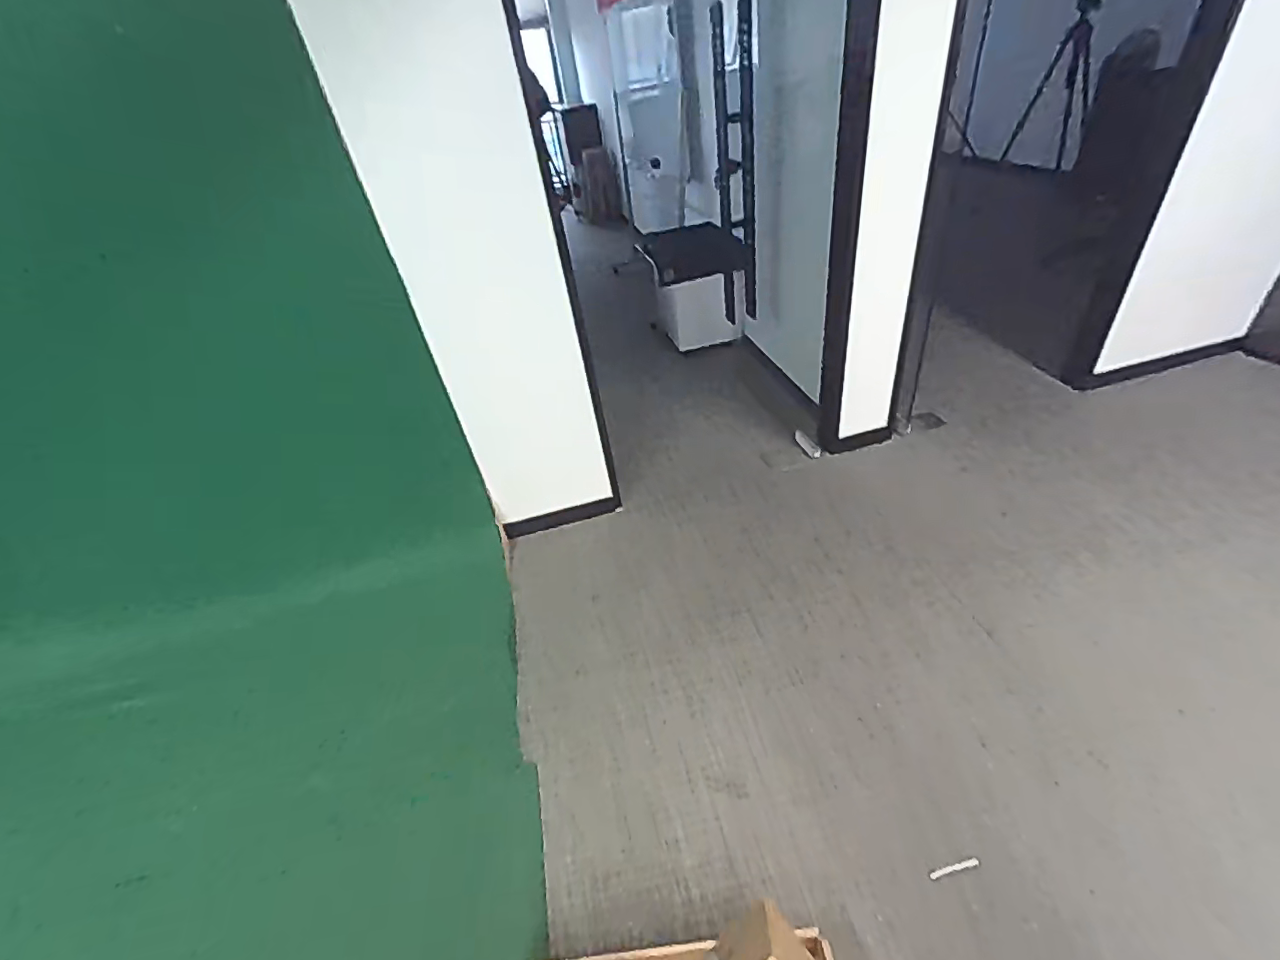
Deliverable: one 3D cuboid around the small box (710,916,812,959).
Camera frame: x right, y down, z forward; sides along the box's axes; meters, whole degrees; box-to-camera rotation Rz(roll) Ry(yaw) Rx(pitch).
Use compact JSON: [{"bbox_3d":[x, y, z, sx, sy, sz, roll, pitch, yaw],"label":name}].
[{"bbox_3d":[0.110,0.511,0.446,0.168,0.176,0.179,-41,68,-9],"label":"small box"}]
